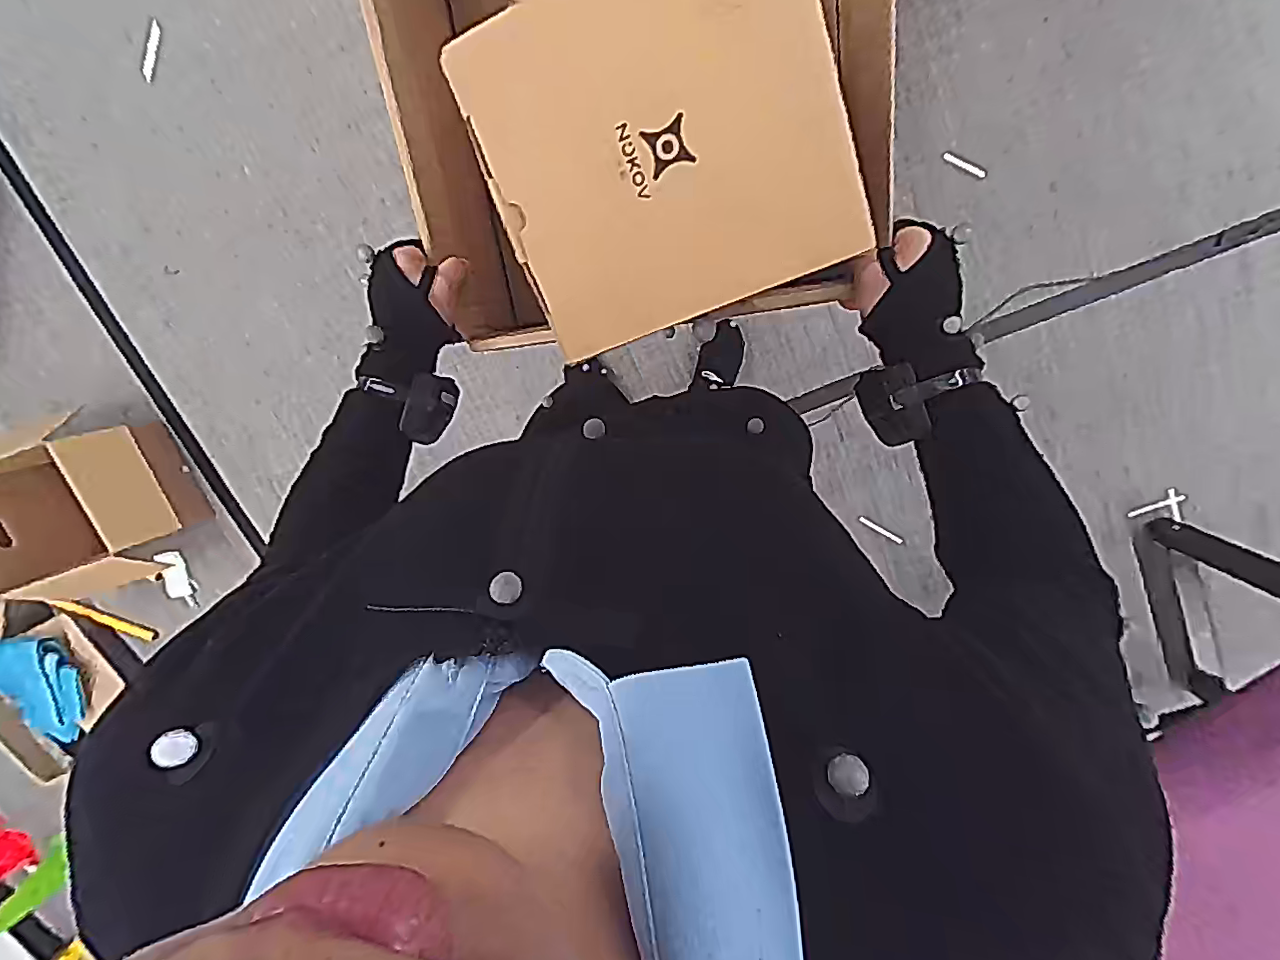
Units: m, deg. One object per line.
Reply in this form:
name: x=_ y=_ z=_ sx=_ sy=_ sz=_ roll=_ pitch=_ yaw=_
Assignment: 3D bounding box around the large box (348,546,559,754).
large box: x=-0.498 y=0.460 z=1.519 sx=0.408 sy=0.320 sz=0.320 roll=39 pitch=106 yaw=-8
